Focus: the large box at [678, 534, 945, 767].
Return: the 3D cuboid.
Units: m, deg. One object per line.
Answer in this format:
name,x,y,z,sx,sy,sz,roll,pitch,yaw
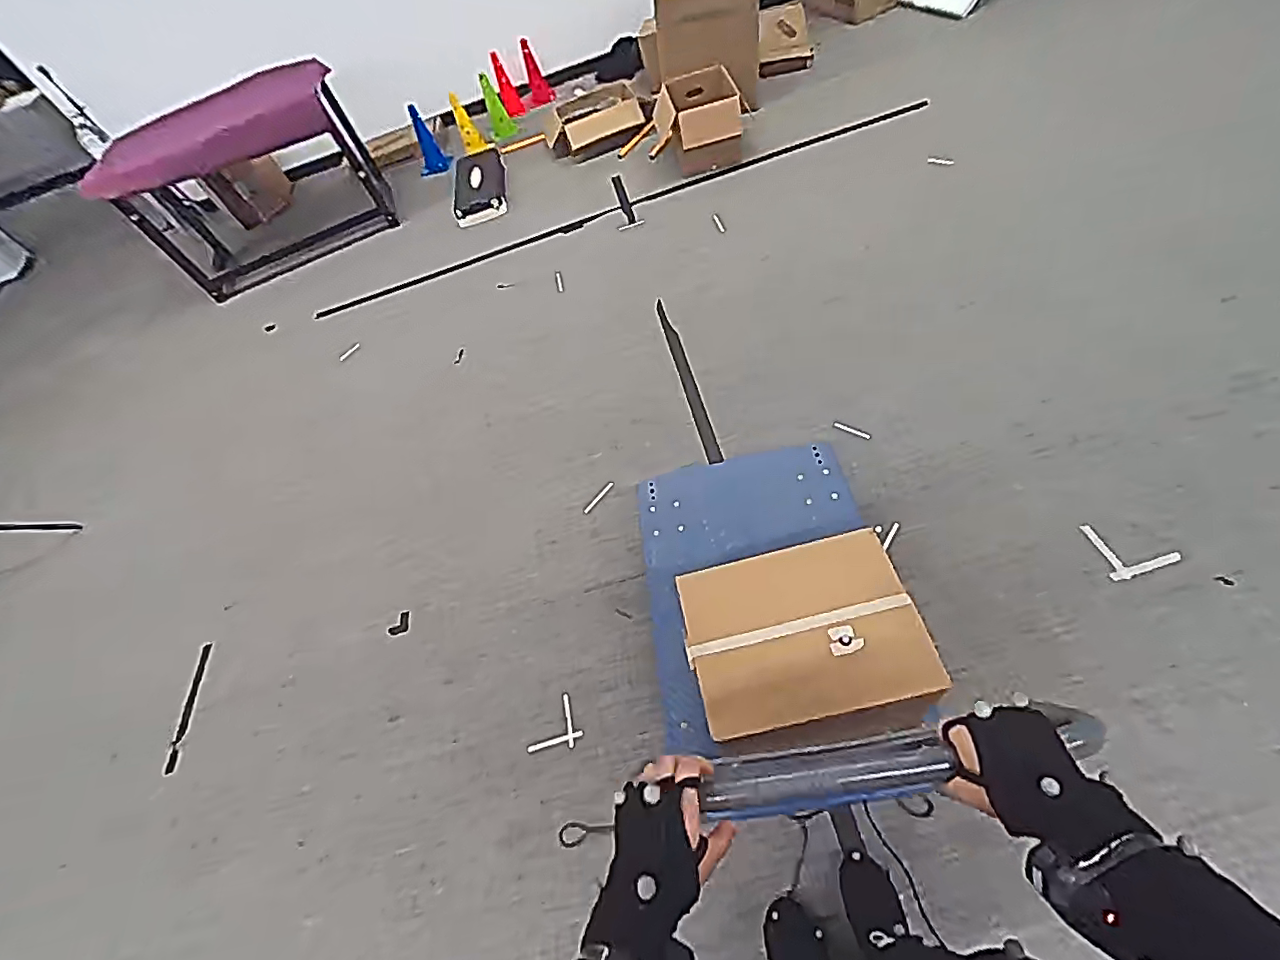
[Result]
large box,0.322,0.362,1.115,0.408,0.320,0.320,-15,54,4
